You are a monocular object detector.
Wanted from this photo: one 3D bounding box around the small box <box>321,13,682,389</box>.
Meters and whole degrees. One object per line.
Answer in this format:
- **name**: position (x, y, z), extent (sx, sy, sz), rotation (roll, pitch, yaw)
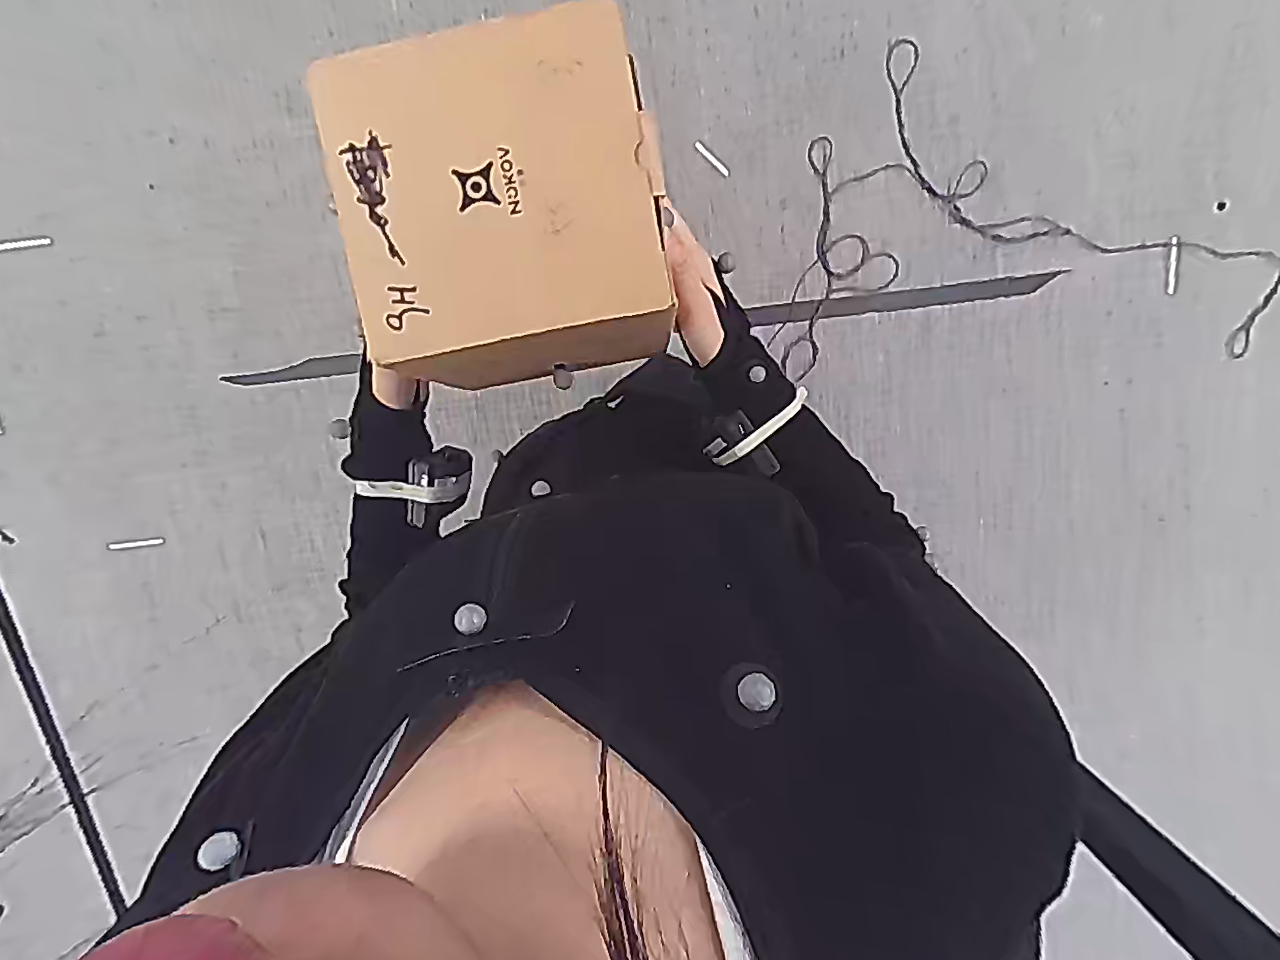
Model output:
- **small box**: position (-0.075, -0.163, 0.376), extent (0.179, 0.176, 0.168), rotation (-10, 94, 1)
